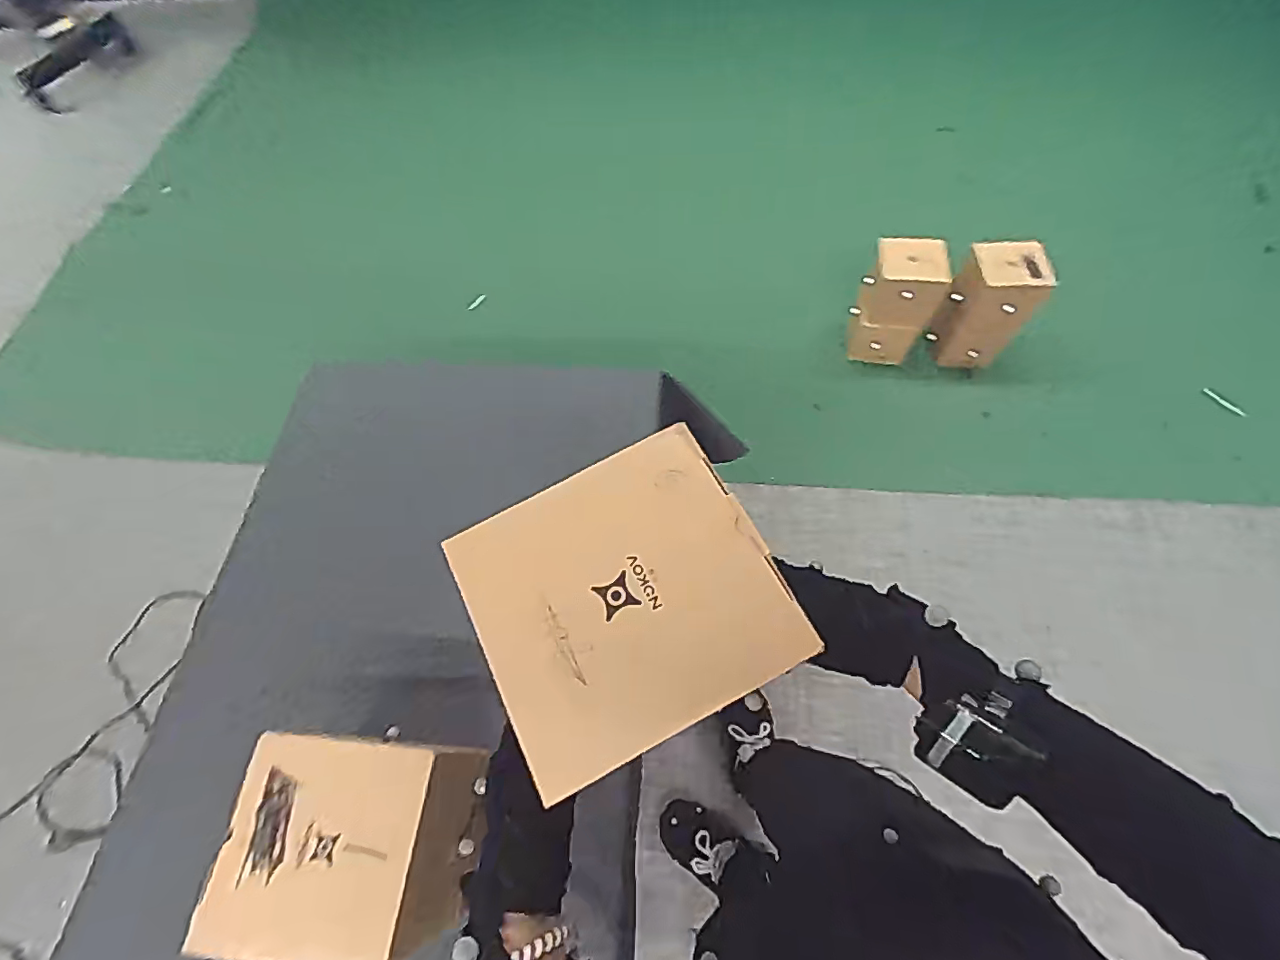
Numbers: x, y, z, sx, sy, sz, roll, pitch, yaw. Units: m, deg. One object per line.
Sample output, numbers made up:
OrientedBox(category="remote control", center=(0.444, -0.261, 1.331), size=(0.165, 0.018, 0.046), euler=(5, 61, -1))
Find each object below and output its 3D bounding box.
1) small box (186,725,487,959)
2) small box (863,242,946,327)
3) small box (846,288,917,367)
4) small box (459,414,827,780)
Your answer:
OrientedBox(category="small box", center=(-0.277, 0.349, 0.543), size=(0.179, 0.176, 0.168), euler=(3, 63, 5))
OrientedBox(category="small box", center=(0.761, -0.566, 1.577), size=(0.179, 0.176, 0.168), euler=(6, 63, 7))
OrientedBox(category="small box", center=(0.762, -0.482, 1.719), size=(0.168, 0.176, 0.179), euler=(7, 63, 8))
OrientedBox(category="small box", center=(0.001, 0.086, 0.397), size=(0.179, 0.176, 0.168), euler=(-26, 68, -5))
